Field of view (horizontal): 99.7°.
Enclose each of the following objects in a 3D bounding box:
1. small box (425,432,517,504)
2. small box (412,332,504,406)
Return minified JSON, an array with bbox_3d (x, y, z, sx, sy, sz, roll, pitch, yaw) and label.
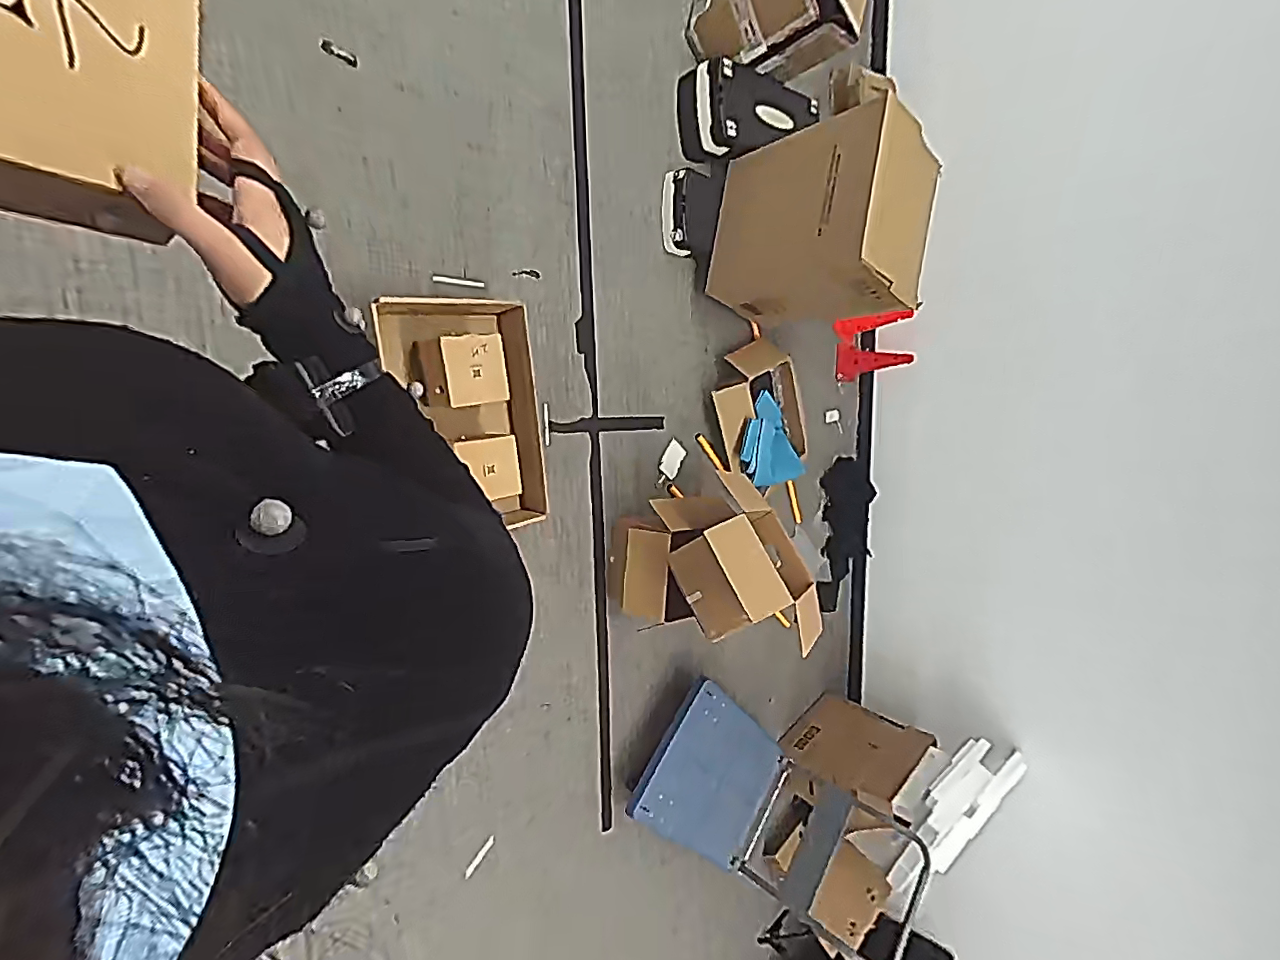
[{"bbox_3d":[-0.462,-0.039,1.477,0.179,0.176,0.168,-14,104,-40],"label":"small box"},{"bbox_3d":[-0.480,-0.293,1.423,0.168,0.176,0.179,-17,108,-41],"label":"small box"}]
